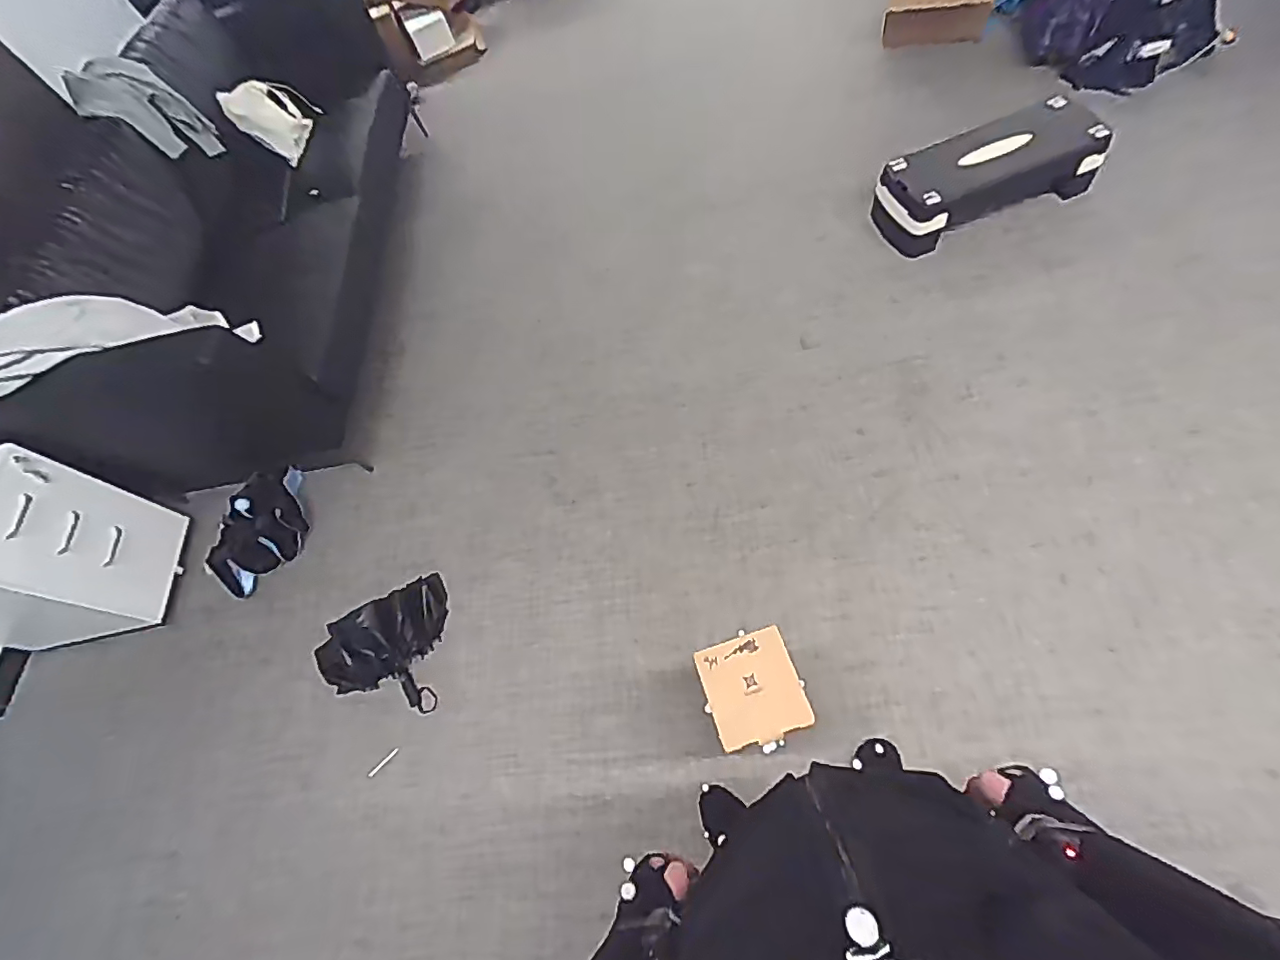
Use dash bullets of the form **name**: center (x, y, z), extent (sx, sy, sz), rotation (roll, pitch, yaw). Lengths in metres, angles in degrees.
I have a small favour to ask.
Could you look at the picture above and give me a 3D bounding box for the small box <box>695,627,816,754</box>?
- **small box**: center (0.216, 0.398, 1.021), extent (0.168, 0.176, 0.179), rotation (-20, 62, 3)
